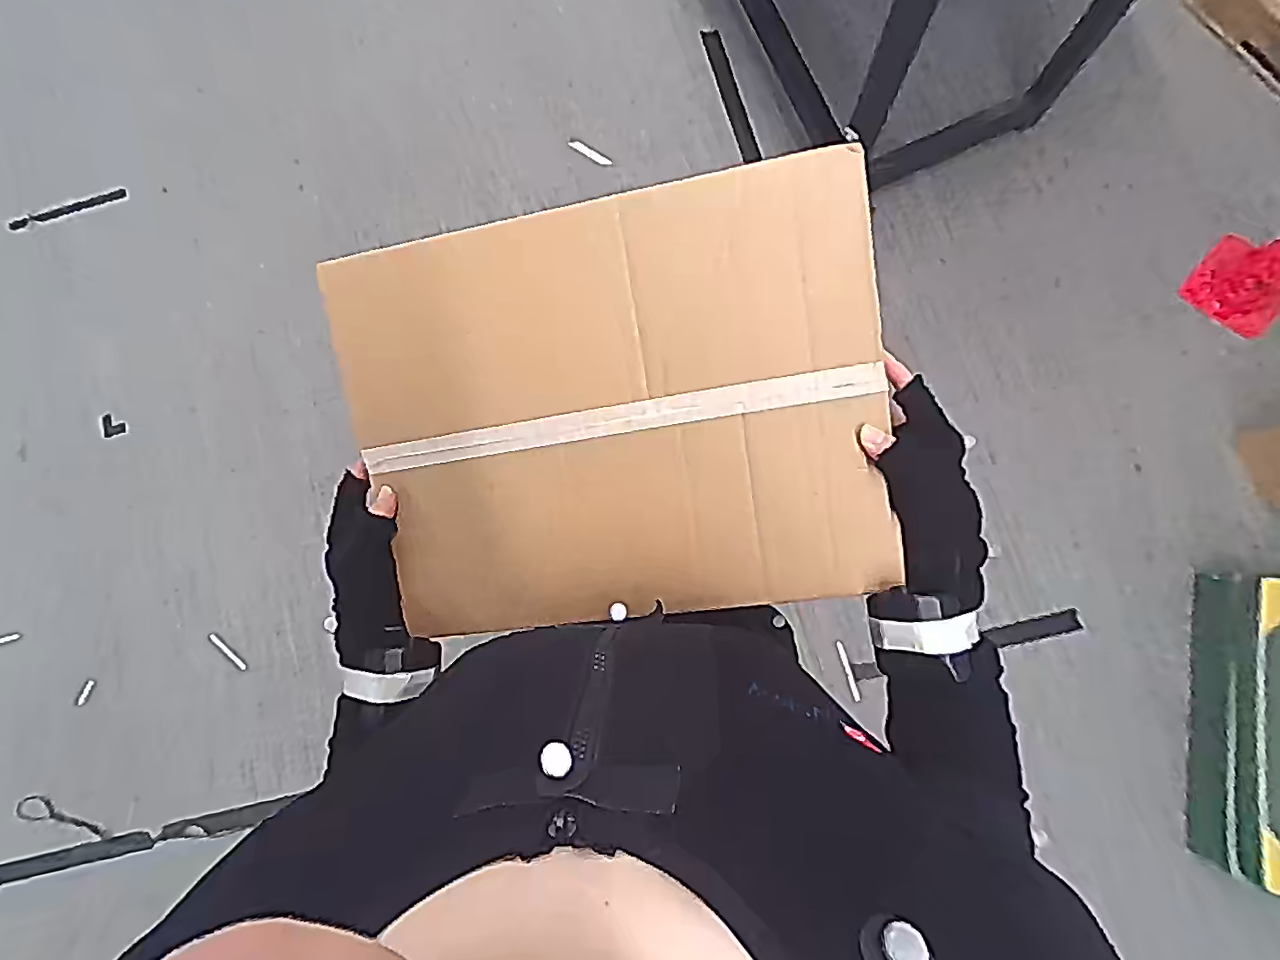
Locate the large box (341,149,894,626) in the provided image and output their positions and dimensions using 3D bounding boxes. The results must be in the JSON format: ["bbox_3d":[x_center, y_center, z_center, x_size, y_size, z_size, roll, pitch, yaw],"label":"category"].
[{"bbox_3d":[-0.005,-0.074,0.569,0.408,0.320,0.320,-8,100,9],"label":"large box"}]
